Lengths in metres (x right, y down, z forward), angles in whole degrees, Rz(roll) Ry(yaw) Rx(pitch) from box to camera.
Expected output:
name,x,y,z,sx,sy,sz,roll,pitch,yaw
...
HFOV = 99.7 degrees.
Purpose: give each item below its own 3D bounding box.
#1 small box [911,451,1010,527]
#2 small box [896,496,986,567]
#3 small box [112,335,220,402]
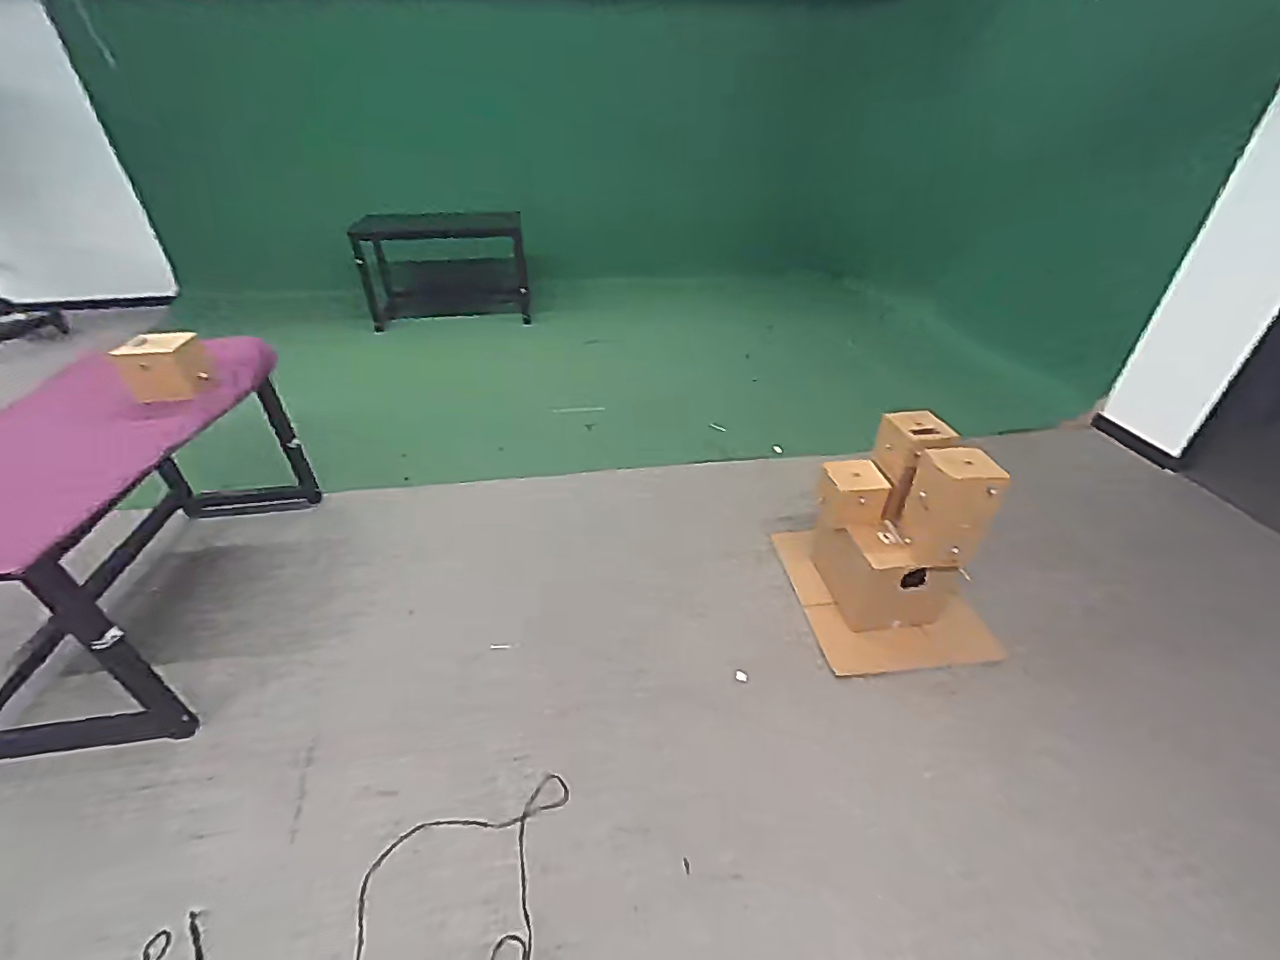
name,x,y,z,sx,sy,sz,roll,pitch,yaw
small box,0.953,0.027,1.628,0.179,0.176,0.168,-2,33,-3
small box,0.951,0.165,1.723,0.168,0.176,0.179,-2,33,-3
small box,-1.531,-0.361,1.761,0.179,0.176,0.168,-4,36,-6
